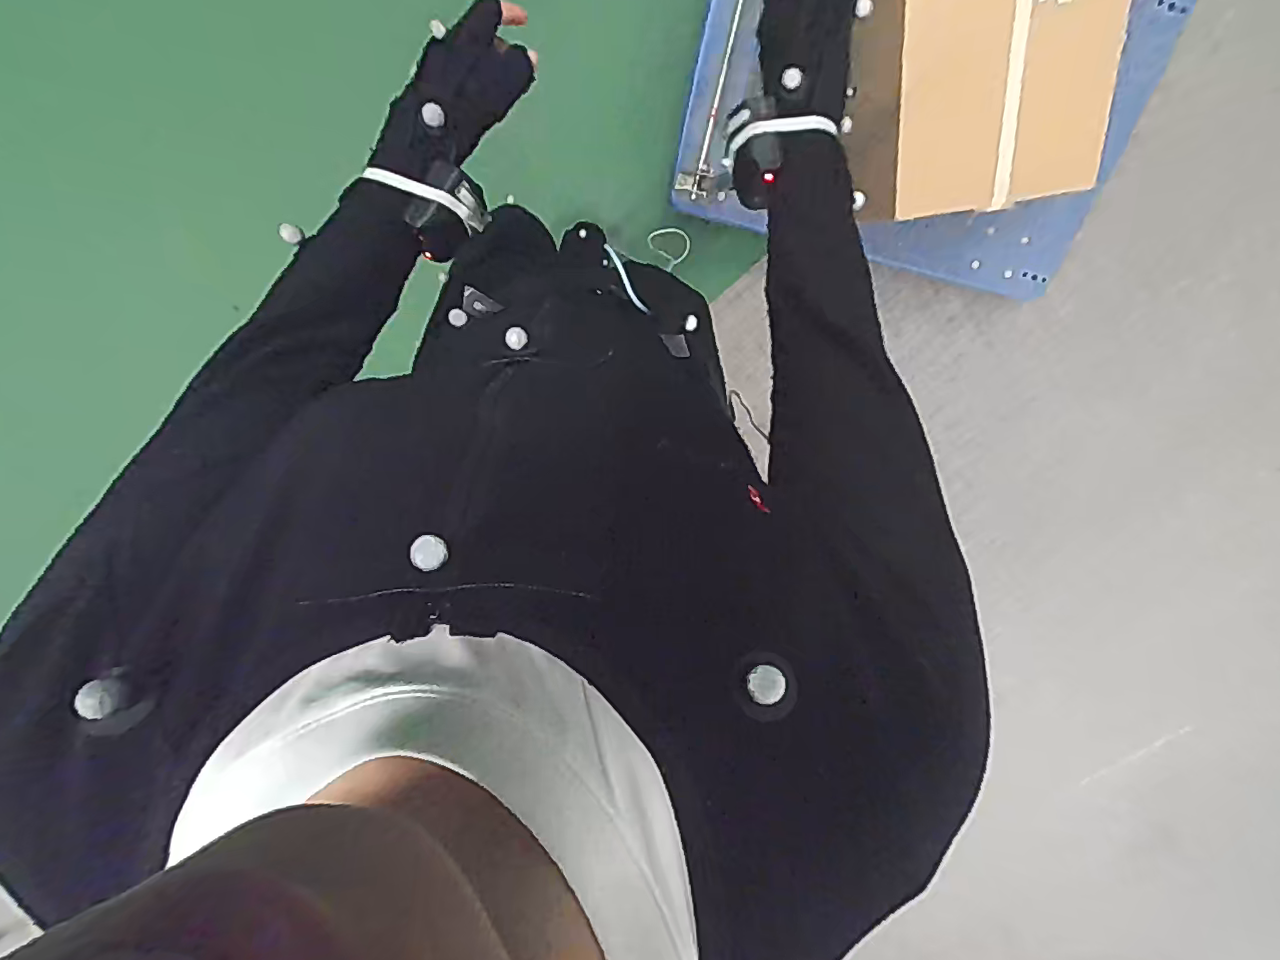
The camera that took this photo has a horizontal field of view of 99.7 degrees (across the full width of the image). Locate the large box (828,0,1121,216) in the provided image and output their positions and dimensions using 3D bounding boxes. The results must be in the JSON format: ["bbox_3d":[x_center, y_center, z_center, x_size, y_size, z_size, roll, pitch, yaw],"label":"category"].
[{"bbox_3d":[0.512,-0.683,0.892,0.320,0.320,0.408,-9,115,2],"label":"large box"}]
